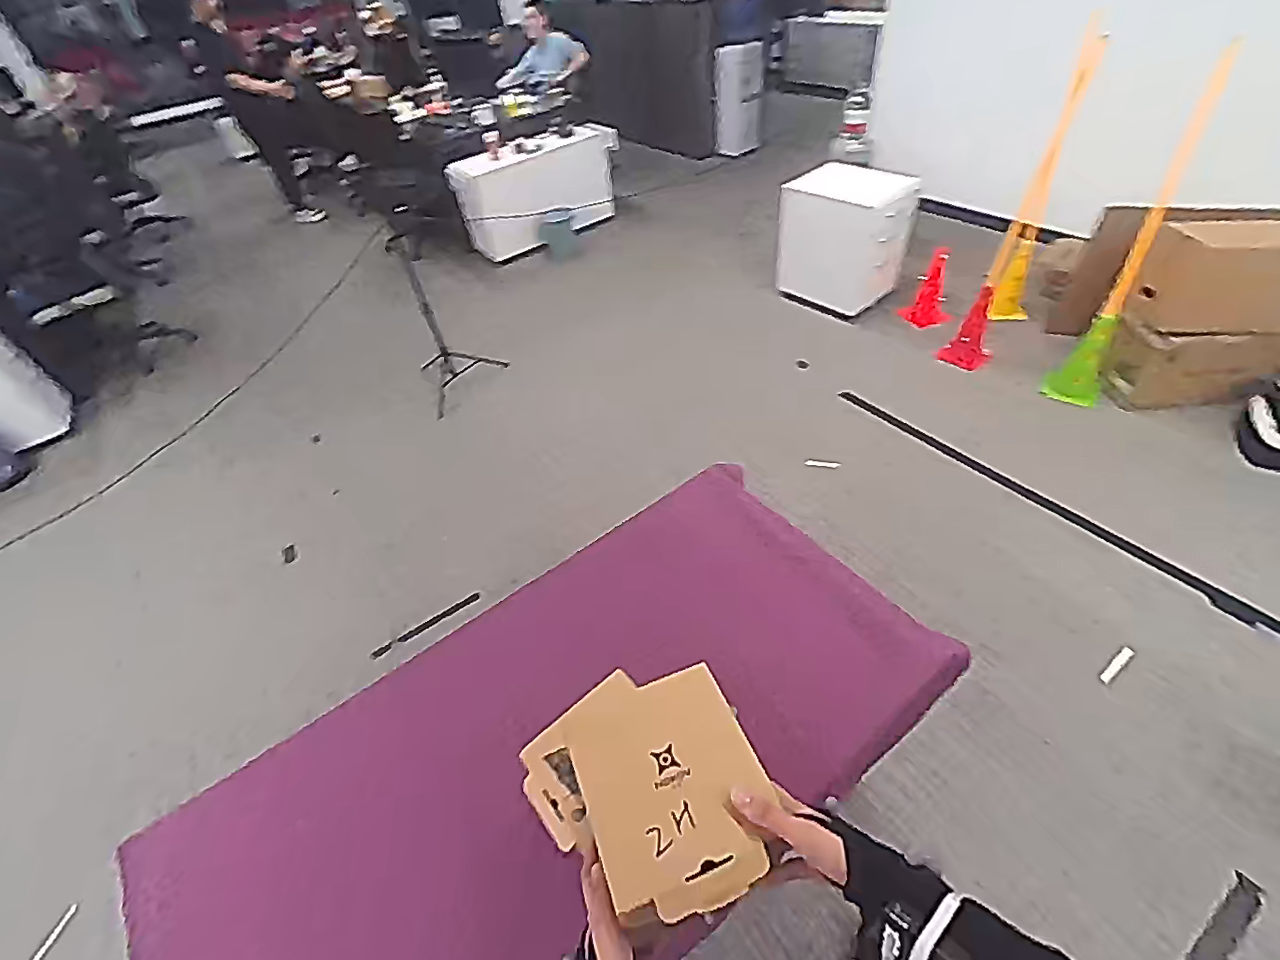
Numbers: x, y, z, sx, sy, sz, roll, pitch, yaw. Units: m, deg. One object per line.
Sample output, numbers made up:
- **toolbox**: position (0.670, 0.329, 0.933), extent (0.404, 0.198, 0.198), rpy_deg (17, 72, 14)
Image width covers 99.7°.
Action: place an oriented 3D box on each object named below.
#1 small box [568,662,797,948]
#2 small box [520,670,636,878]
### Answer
- **small box**: position (0.034, 0.329, 0.556), extent (0.168, 0.176, 0.179), rpy_deg (-17, 42, -14)
- **small box**: position (-0.033, 0.412, 0.754), extent (0.179, 0.176, 0.168), rpy_deg (-35, 51, -23)
